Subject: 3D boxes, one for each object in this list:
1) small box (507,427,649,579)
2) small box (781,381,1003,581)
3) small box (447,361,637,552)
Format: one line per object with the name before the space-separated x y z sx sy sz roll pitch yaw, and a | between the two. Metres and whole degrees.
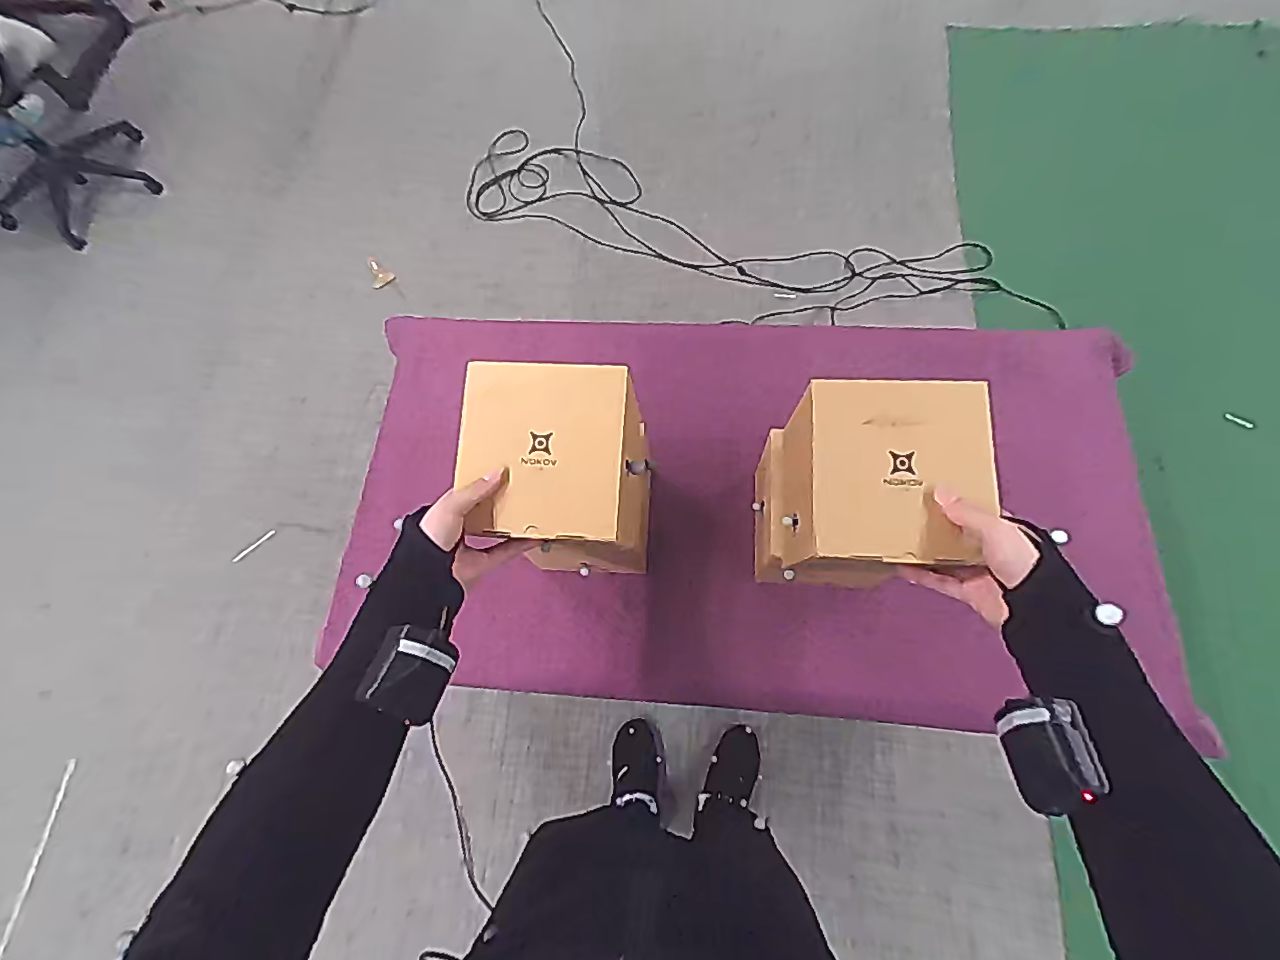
small box | -0.076 0.035 0.769 0.168 0.176 0.179 2 70 5
small box | 0.247 0.011 0.572 0.168 0.176 0.179 3 76 5
small box | -0.093 -0.016 0.599 0.168 0.176 0.179 3 81 4
